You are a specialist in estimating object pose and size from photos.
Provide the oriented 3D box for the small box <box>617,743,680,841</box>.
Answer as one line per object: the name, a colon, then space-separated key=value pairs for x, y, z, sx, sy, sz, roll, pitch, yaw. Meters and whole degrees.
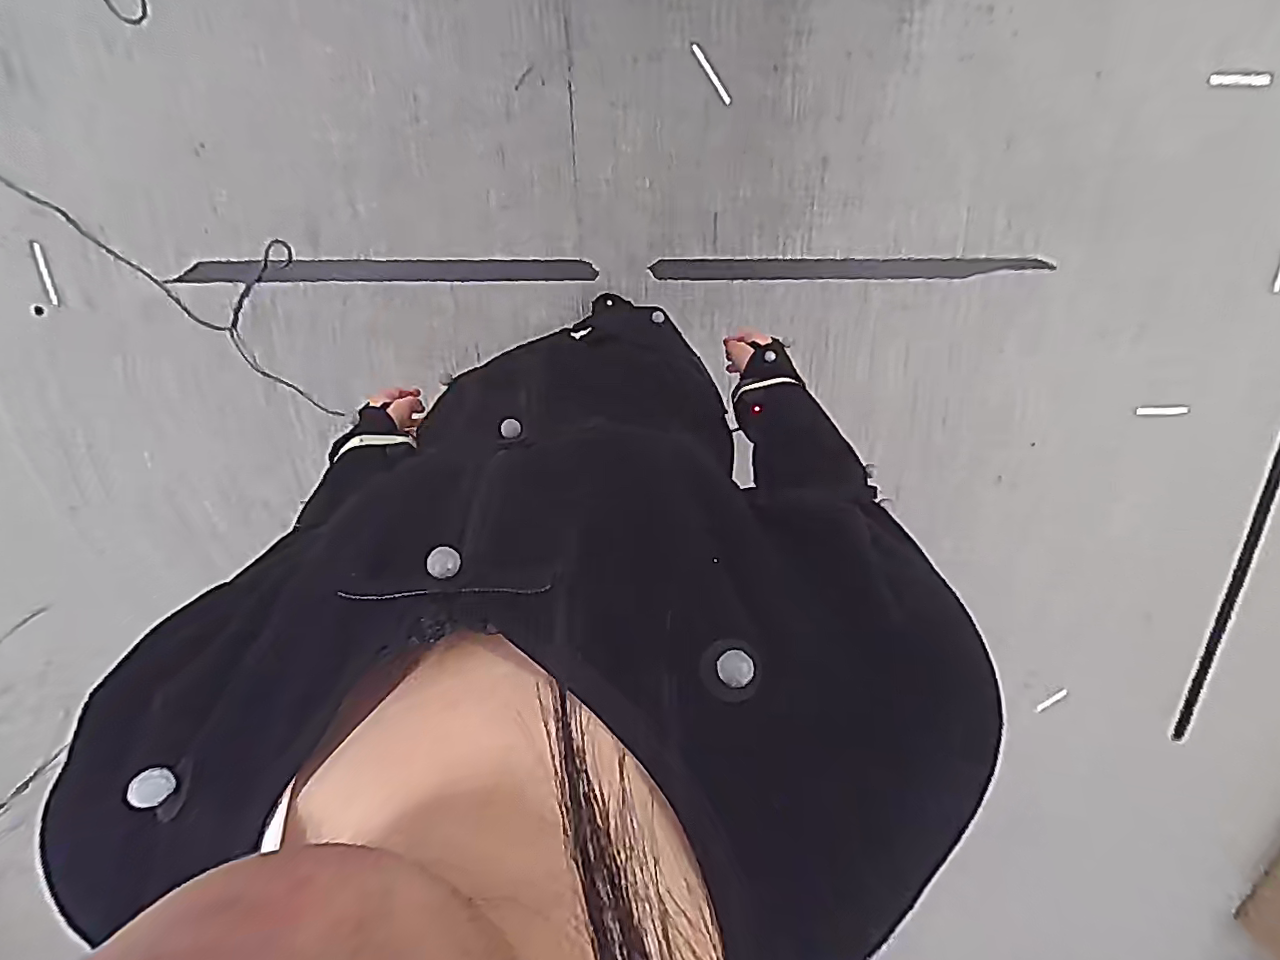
small box: x=0.023 y=0.898 z=1.565 sx=0.168 sy=0.176 sz=0.179 roll=-7 pitch=109 yaw=-1

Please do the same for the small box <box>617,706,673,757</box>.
small box: x=0.015 y=0.843 z=1.720 sx=0.168 sy=0.176 sz=0.179 roll=-5 pitch=109 yaw=-1
